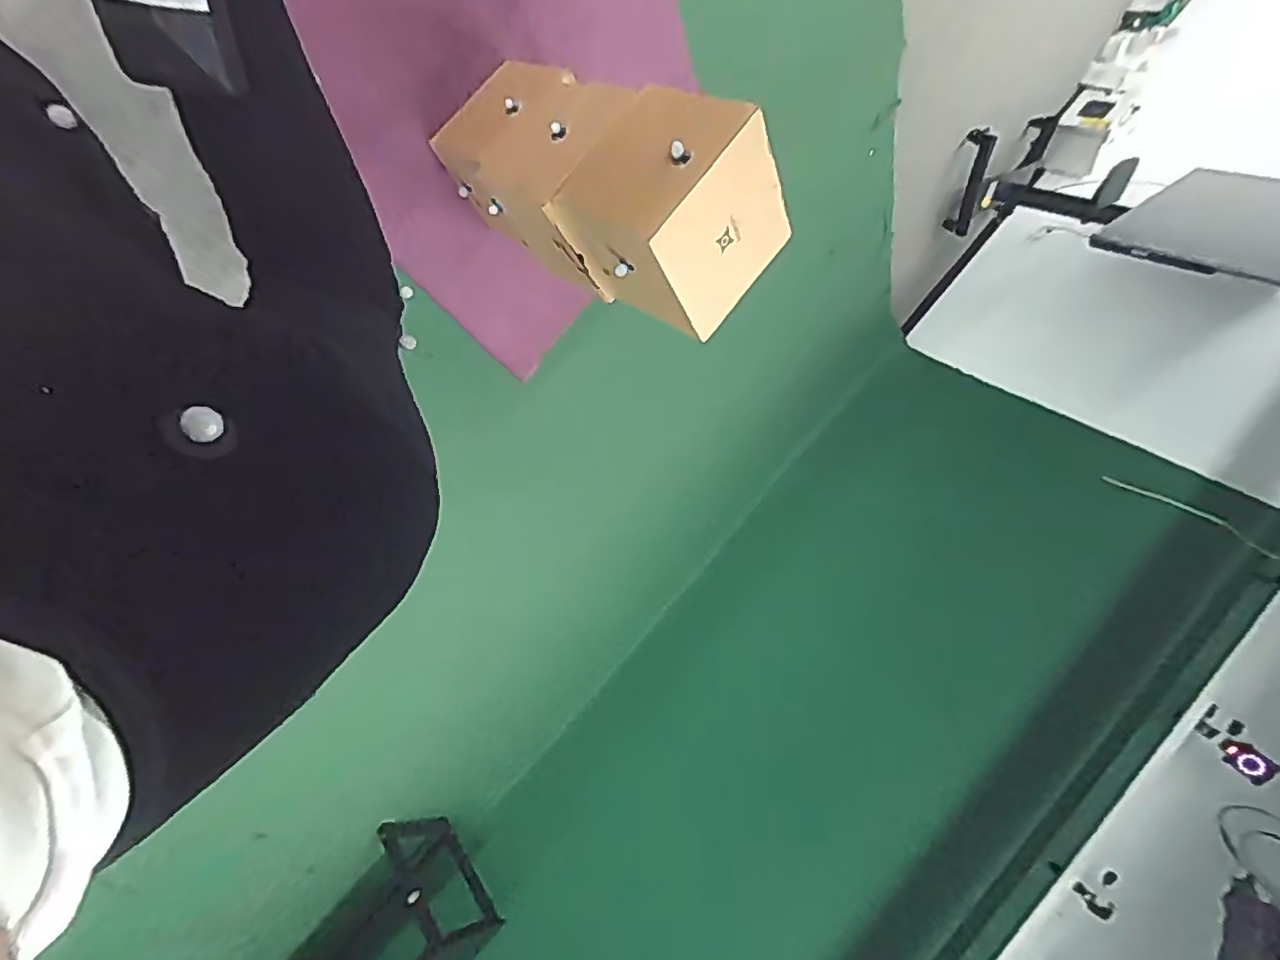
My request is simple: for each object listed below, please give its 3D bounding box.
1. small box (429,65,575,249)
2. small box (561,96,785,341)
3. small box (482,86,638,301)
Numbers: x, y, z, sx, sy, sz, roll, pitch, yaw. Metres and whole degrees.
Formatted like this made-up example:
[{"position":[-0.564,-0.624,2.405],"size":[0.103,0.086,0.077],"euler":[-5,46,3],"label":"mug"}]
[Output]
[{"position":[-0.174,-0.475,0.803],"size":[0.179,0.176,0.168],"euler":[-48,146,-5],"label":"small box"},{"position":[0.033,-0.300,0.623],"size":[0.179,0.176,0.168],"euler":[-51,146,-3],"label":"small box"},{"position":[-0.080,-0.376,0.711],"size":[0.179,0.176,0.168],"euler":[-51,146,-4],"label":"small box"}]
